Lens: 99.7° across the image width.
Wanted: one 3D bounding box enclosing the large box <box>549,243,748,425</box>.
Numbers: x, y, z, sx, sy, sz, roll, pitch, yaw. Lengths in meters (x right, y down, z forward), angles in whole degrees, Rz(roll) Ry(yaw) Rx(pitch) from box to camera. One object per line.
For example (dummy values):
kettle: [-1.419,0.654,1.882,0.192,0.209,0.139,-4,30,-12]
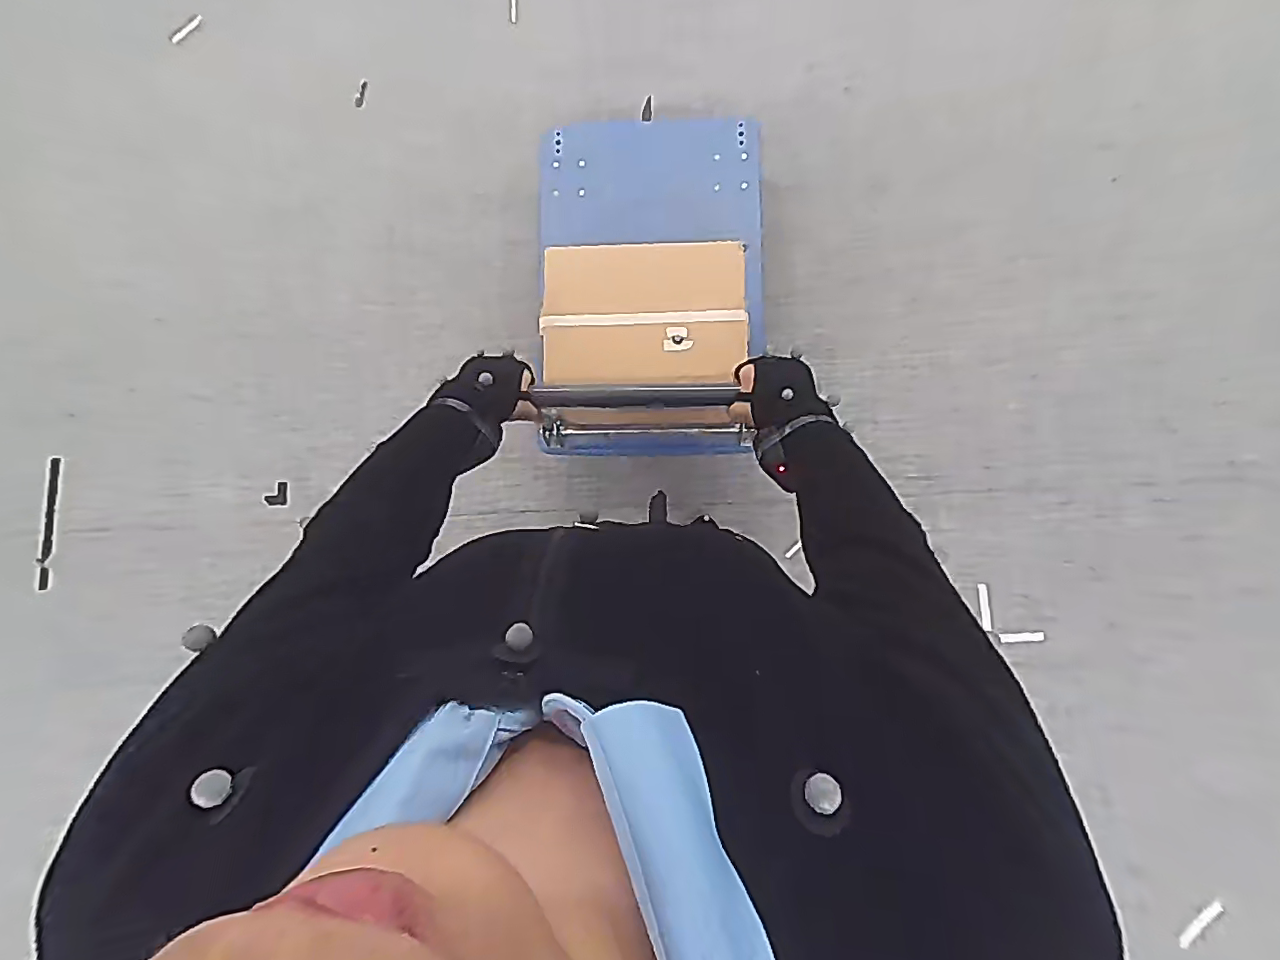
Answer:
large box: [0.018,-0.310,1.236,0.408,0.320,0.320,-1,86,2]
